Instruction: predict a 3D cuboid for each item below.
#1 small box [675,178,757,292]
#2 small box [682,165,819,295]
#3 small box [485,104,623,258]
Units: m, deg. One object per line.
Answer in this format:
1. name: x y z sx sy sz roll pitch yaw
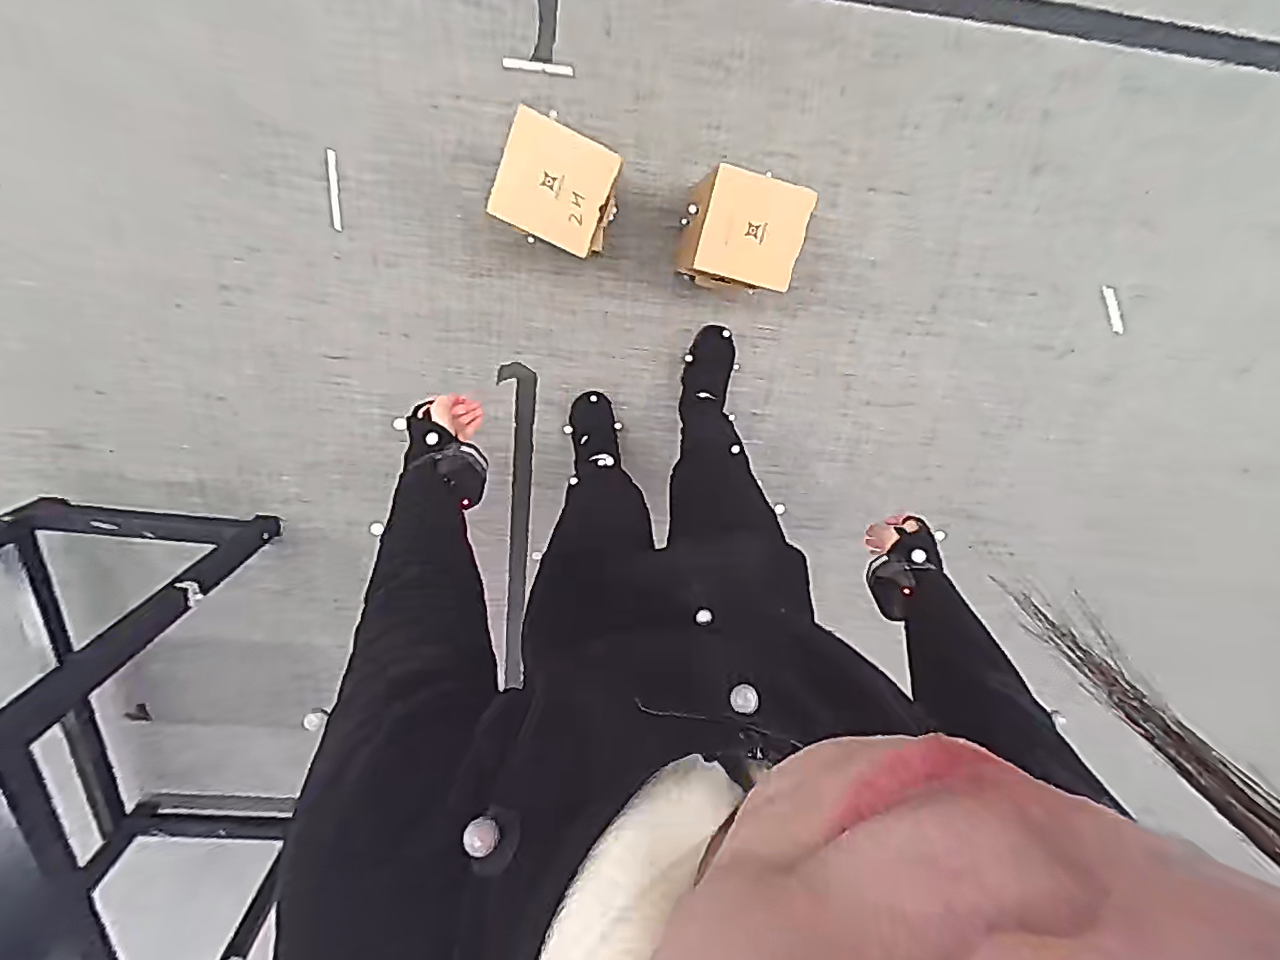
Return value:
1. small box: 0.175 -0.506 1.129 0.168 0.176 0.179 11 111 -8
2. small box: 0.187 -0.445 0.978 0.179 0.176 0.168 13 111 -8
3. small box: -0.141 -0.499 0.932 0.179 0.176 0.168 22 111 -12
